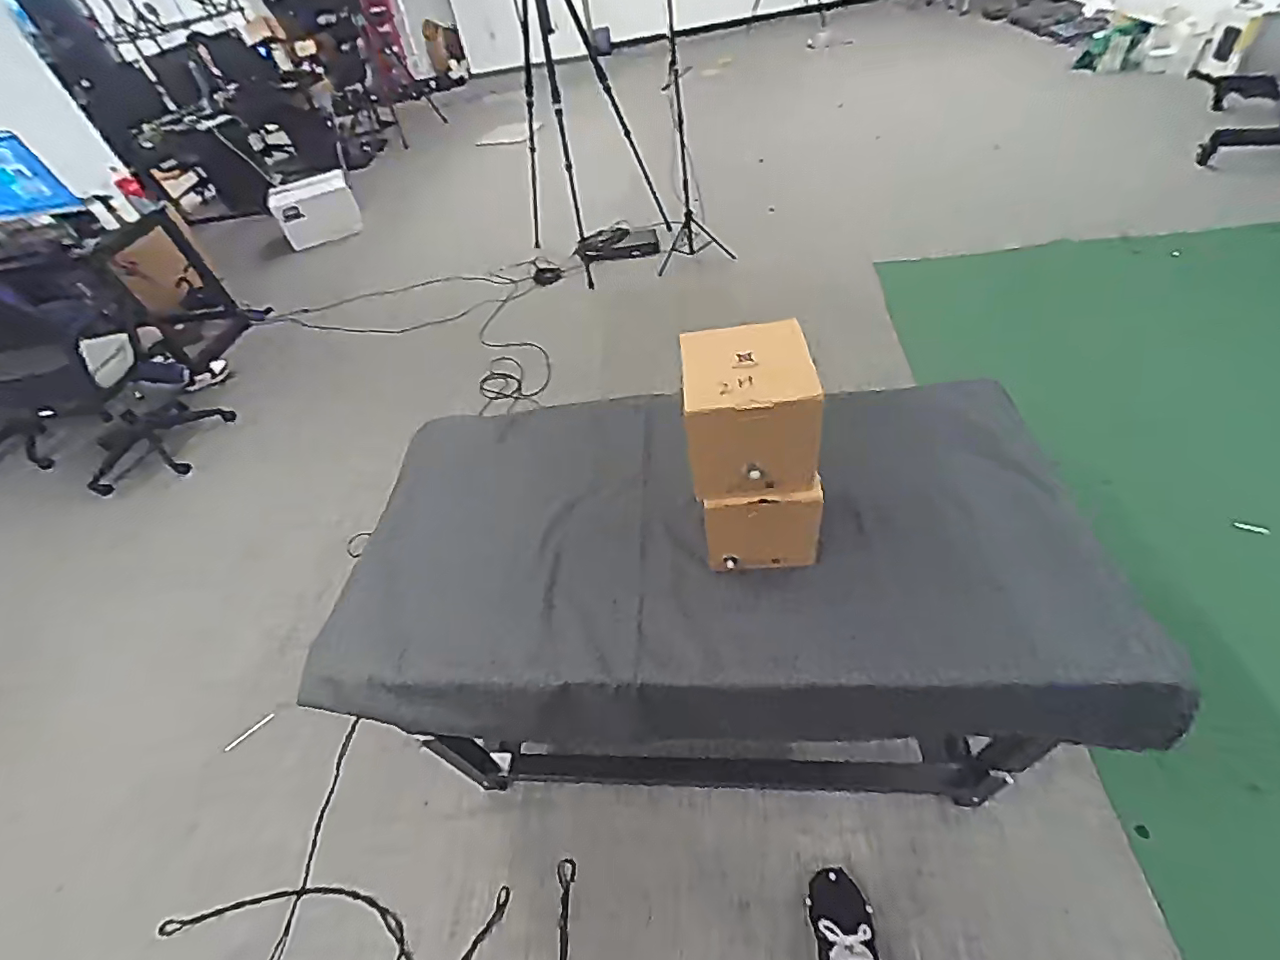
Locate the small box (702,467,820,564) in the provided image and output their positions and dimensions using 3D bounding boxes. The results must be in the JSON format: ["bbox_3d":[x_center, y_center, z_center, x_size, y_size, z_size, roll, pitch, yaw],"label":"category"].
[{"bbox_3d":[0.186,0.022,0.863,0.168,0.176,0.179,-4,46,8],"label":"small box"}]

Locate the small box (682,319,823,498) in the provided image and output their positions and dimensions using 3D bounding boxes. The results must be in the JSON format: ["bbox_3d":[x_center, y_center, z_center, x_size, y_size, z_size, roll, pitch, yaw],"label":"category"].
[{"bbox_3d":[0.149,-0.098,0.755,0.168,0.176,0.179,-6,48,8],"label":"small box"}]
